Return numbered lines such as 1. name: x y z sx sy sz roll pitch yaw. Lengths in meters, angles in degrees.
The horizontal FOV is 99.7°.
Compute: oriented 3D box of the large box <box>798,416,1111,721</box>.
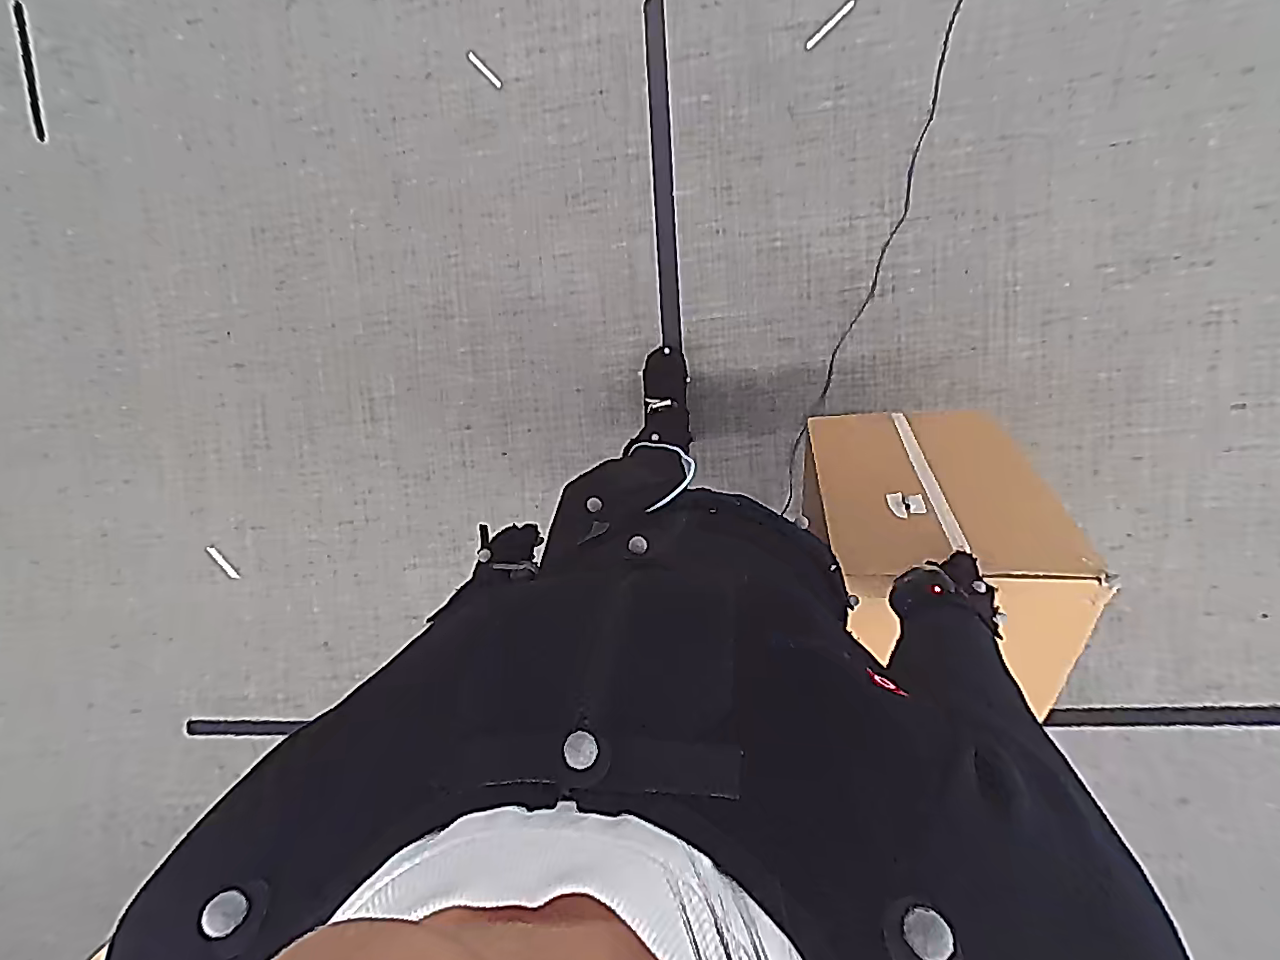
1. large box: 0.450 0.126 0.906 0.320 0.408 0.320 -2 126 11
